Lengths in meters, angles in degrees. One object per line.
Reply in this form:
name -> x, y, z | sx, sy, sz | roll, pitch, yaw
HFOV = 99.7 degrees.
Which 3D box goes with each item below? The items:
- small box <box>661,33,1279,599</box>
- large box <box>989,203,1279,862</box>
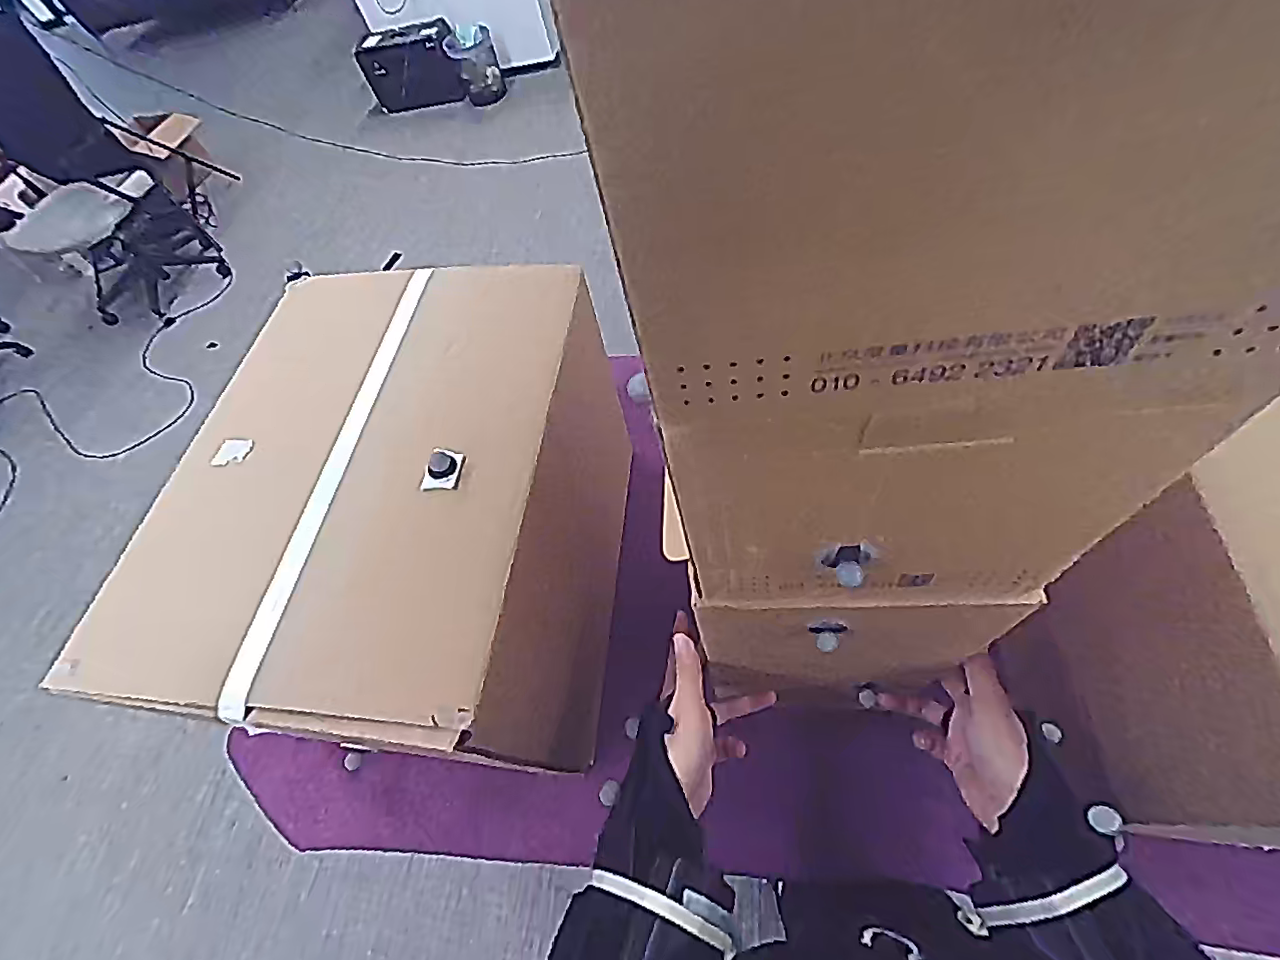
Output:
small box -> 0.102, -0.057, 0.250 | 0.168, 0.176, 0.179 | -4, 59, 9
large box -> 0.484, 0.051, 0.410 | 0.320, 0.320, 0.408 | 0, 58, 12
